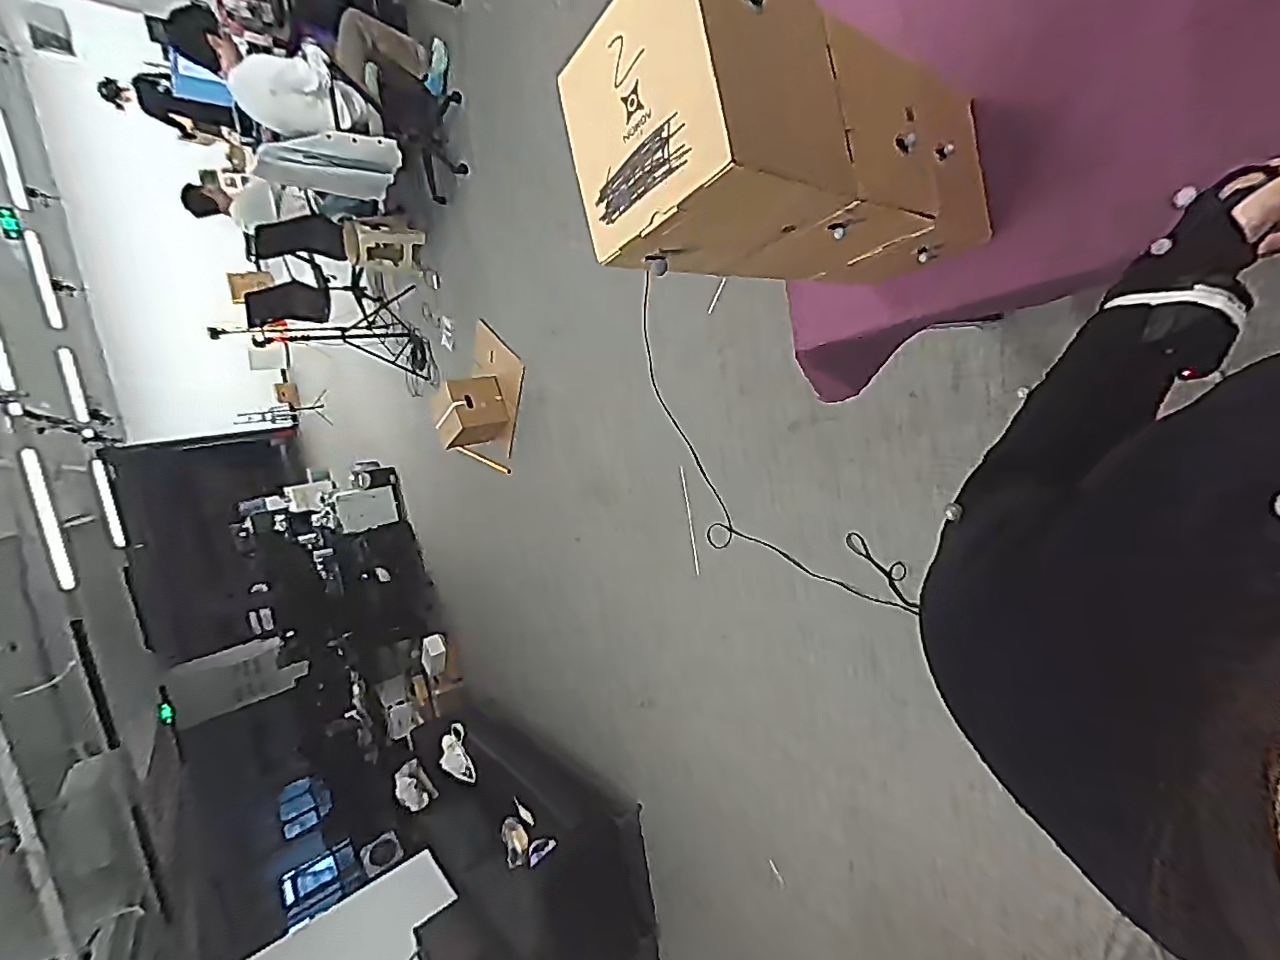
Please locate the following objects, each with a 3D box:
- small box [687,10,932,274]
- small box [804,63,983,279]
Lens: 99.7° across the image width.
[{"bbox_3d":[0.182,-0.334,0.585,0.179,0.176,0.168,-9,95,50],"label":"small box"},{"bbox_3d":[0.308,-0.367,0.682,0.168,0.176,0.179,-6,96,51],"label":"small box"}]
